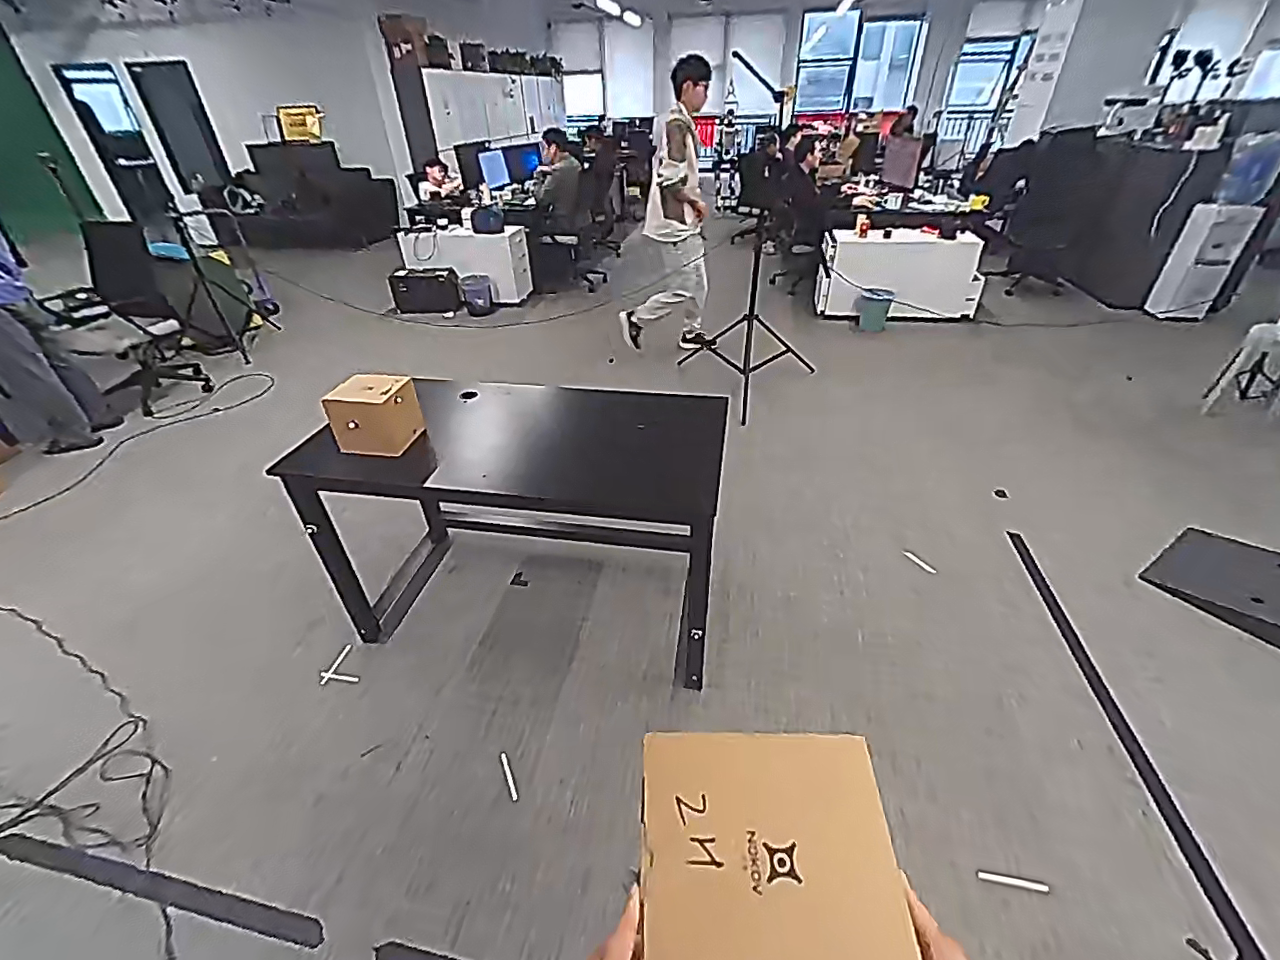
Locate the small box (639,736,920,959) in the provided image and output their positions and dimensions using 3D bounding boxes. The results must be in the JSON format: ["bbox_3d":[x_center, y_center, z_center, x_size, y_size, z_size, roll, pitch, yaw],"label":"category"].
[{"bbox_3d":[0.088,0.315,0.425,0.179,0.176,0.168,-1,46,1],"label":"small box"}]

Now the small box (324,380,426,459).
[{"bbox_3d":[-0.741,-0.172,1.529,0.179,0.176,0.168,3,35,8],"label":"small box"}]
